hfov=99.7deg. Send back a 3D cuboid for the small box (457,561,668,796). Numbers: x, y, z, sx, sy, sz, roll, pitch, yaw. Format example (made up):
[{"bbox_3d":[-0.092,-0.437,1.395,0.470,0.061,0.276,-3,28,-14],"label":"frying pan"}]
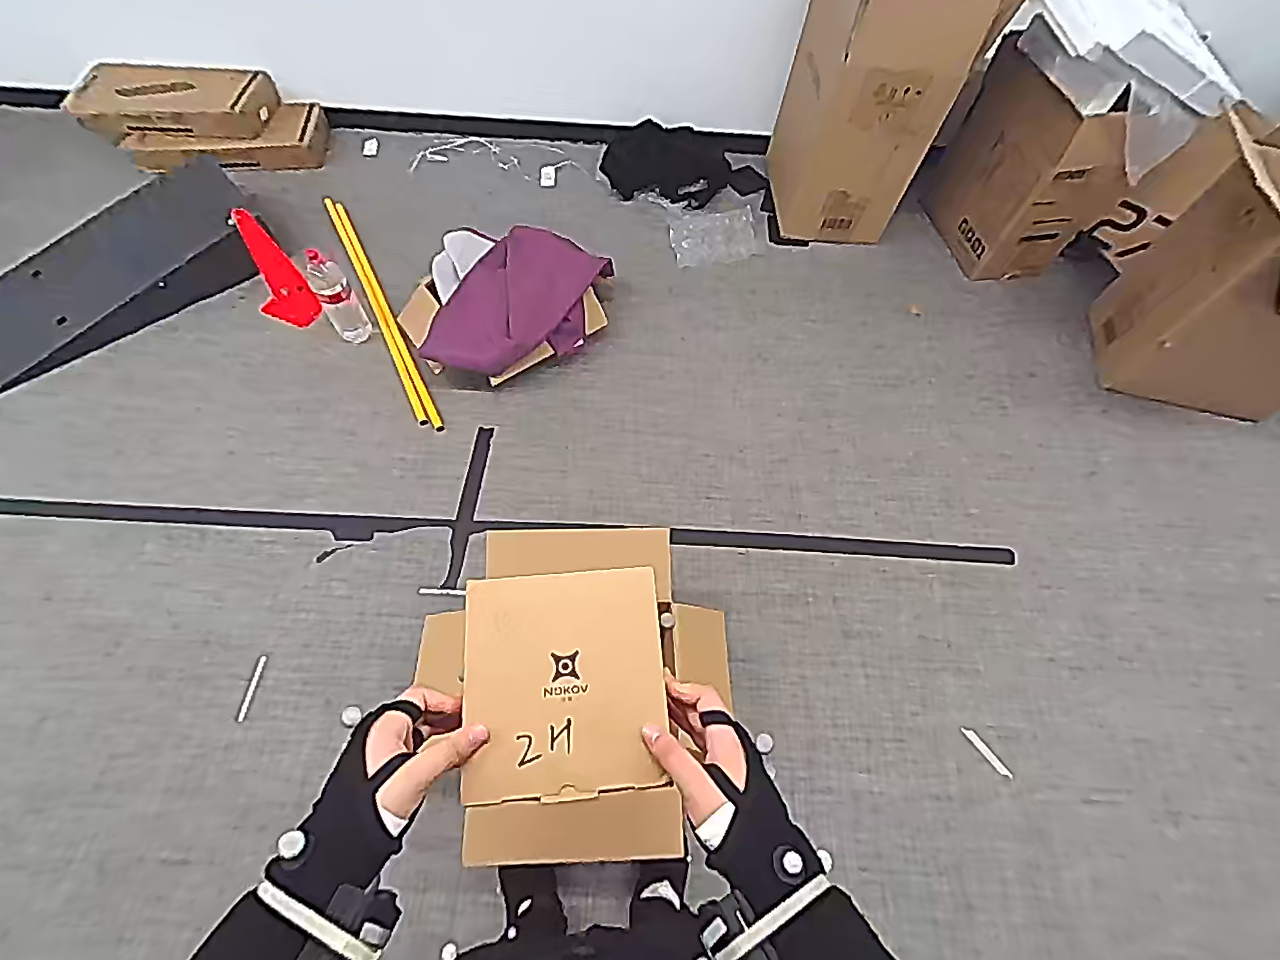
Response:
[{"bbox_3d":[-0.067,0.187,0.521,0.168,0.176,0.179,-4,68,-3],"label":"small box"}]
